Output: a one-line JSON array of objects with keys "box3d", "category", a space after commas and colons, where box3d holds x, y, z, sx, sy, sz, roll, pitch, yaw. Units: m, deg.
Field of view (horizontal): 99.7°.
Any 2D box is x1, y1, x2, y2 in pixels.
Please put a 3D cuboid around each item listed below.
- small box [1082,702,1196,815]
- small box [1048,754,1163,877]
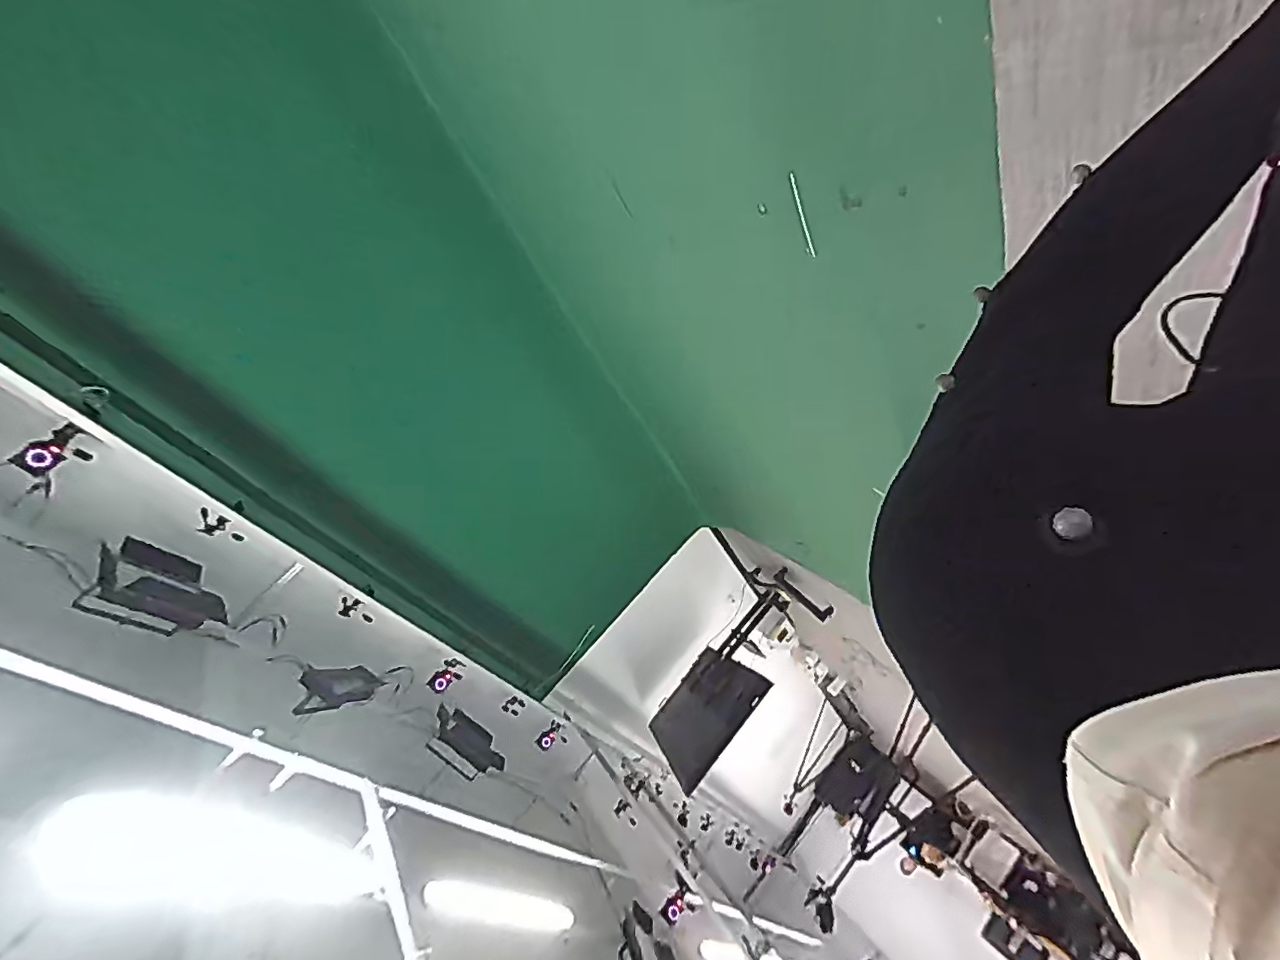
[{"box3d": [1.252, 0.700, 1.361, 0.168, 0.176, 0.179, 26, 158, 52], "category": "small box"}, {"box3d": [1.142, 0.817, 1.326, 0.168, 0.176, 0.179, 25, 159, 53], "category": "small box"}]
